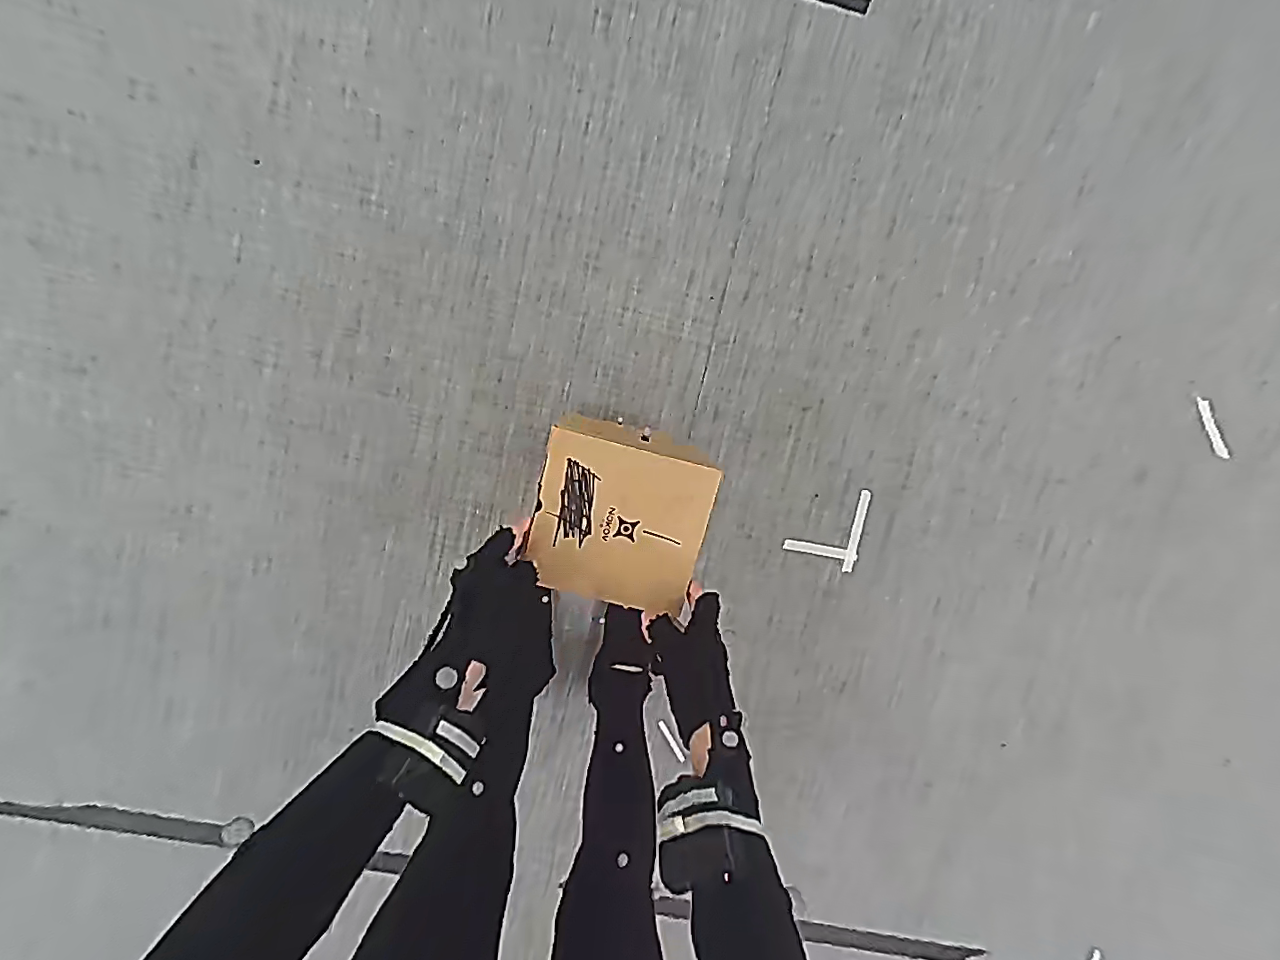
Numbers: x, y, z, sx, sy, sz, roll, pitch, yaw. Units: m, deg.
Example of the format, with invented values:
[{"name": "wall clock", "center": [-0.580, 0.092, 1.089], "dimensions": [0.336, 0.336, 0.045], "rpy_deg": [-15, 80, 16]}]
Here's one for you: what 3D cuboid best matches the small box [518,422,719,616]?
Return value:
[{"name": "small box", "center": [-0.027, 0.033, 0.634], "dimensions": [0.179, 0.176, 0.168], "rpy_deg": [14, 101, -5]}]
